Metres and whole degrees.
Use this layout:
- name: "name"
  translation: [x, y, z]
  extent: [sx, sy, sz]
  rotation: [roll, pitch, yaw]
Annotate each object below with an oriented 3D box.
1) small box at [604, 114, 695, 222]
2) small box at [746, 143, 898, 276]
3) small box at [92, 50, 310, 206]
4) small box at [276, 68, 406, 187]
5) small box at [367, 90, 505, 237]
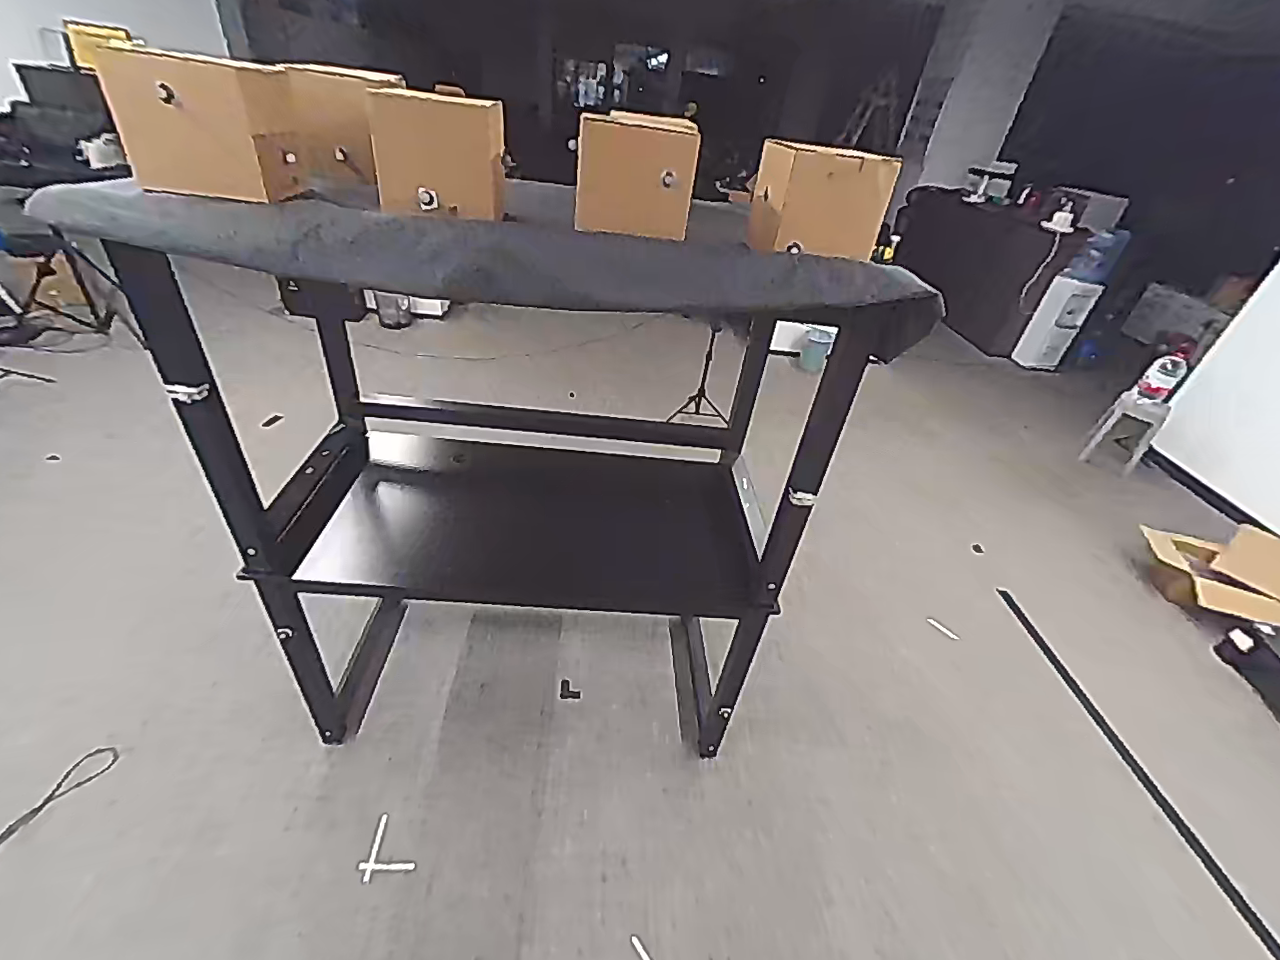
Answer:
- name: "small box"
  translation: [0.014, -0.644, 1.118]
  extent: [0.168, 0.176, 0.179]
  rotation: [4, 36, -6]
- name: "small box"
  translation: [0.288, -0.449, 0.900]
  extent: [0.168, 0.176, 0.179]
  rotation: [2, 35, -7]
- name: "small box"
  translation: [-0.633, -0.520, 0.810]
  extent: [0.179, 0.176, 0.168]
  rotation: [3, 35, -9]
- name: "small box"
  translation: [-0.559, -0.682, 1.052]
  extent: [0.179, 0.176, 0.168]
  rotation: [4, 36, -8]
- name: "small box"
  translation: [-0.304, -0.494, 0.846]
  extent: [0.168, 0.176, 0.179]
  rotation: [1, 35, -8]
